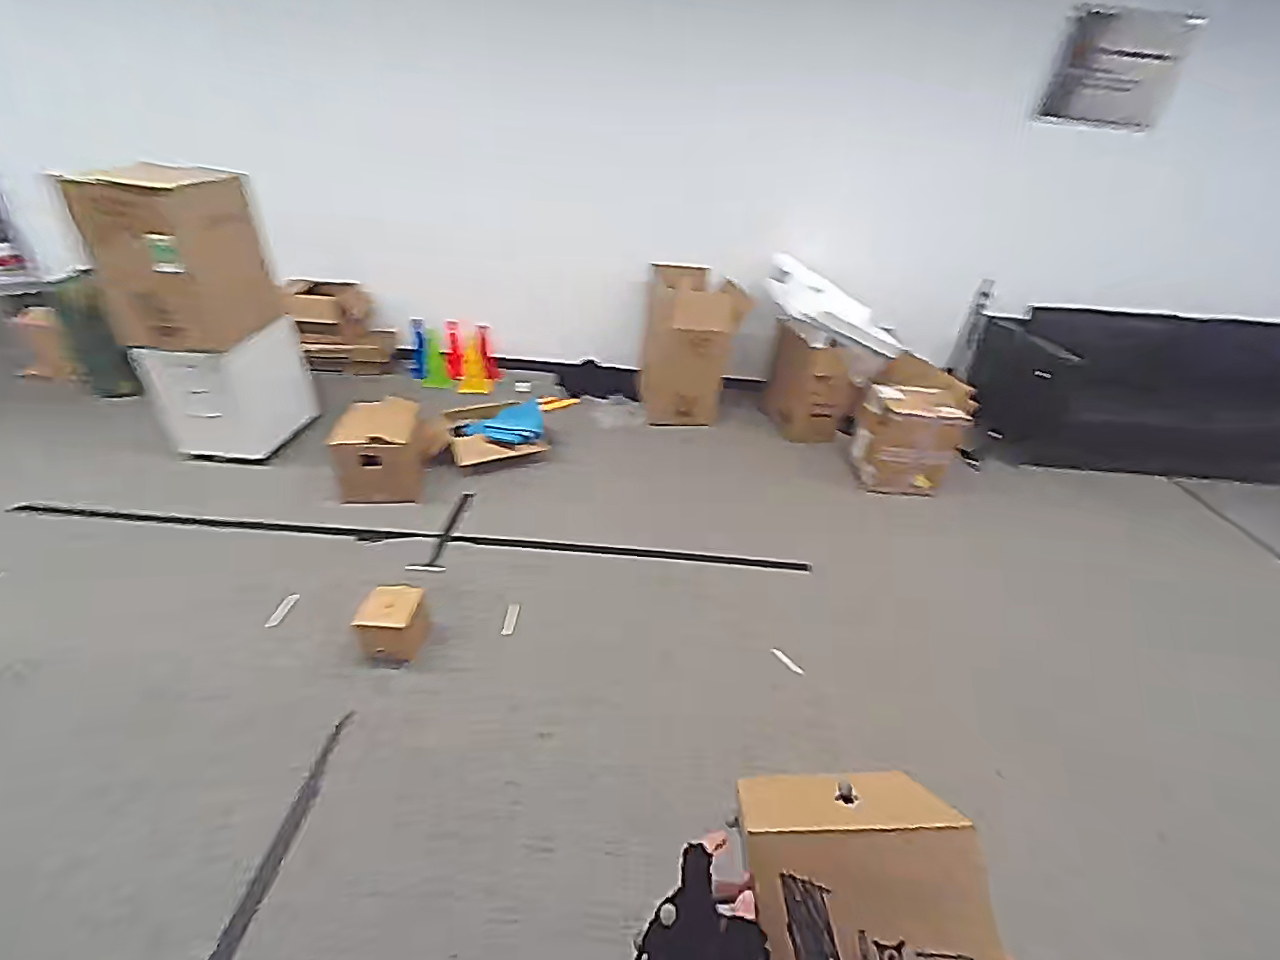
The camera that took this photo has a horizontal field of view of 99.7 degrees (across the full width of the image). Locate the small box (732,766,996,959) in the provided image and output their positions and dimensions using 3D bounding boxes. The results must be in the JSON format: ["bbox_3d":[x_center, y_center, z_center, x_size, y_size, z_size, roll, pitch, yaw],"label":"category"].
[{"bbox_3d":[0.176,0.361,0.473,0.179,0.176,0.168,-5,74,4],"label":"small box"}]

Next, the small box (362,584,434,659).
[{"bbox_3d":[-0.812,0.478,1.833,0.168,0.176,0.179,4,34,-1],"label":"small box"}]
